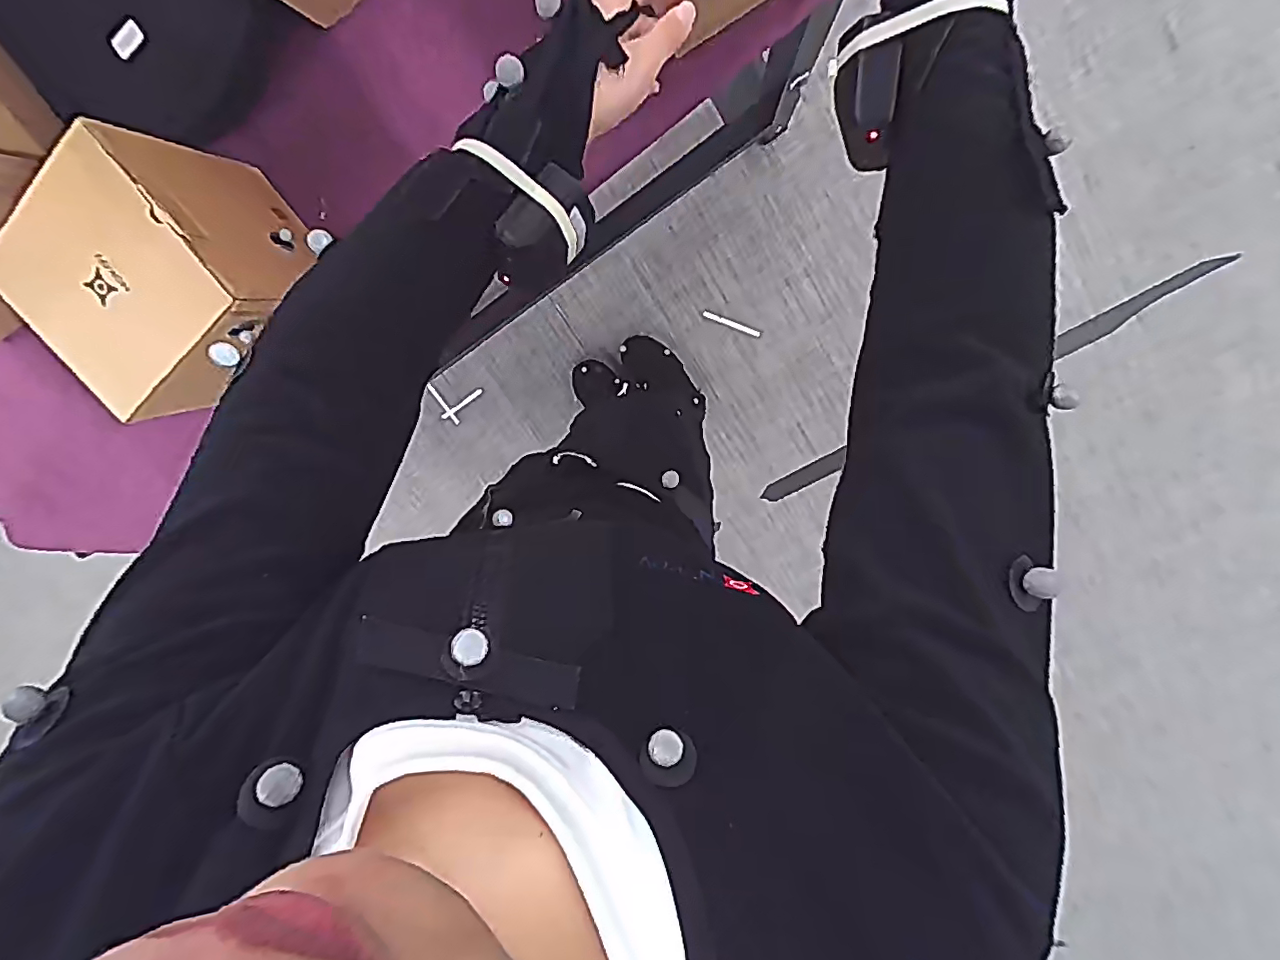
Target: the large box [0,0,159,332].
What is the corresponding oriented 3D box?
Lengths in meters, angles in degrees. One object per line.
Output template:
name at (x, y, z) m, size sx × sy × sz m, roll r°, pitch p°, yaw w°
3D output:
large box at (-0.757, -0.358, 0.432) m, size 0.320 × 0.320 × 0.408 m, roll -31°, pitch 105°, yaw 16°
